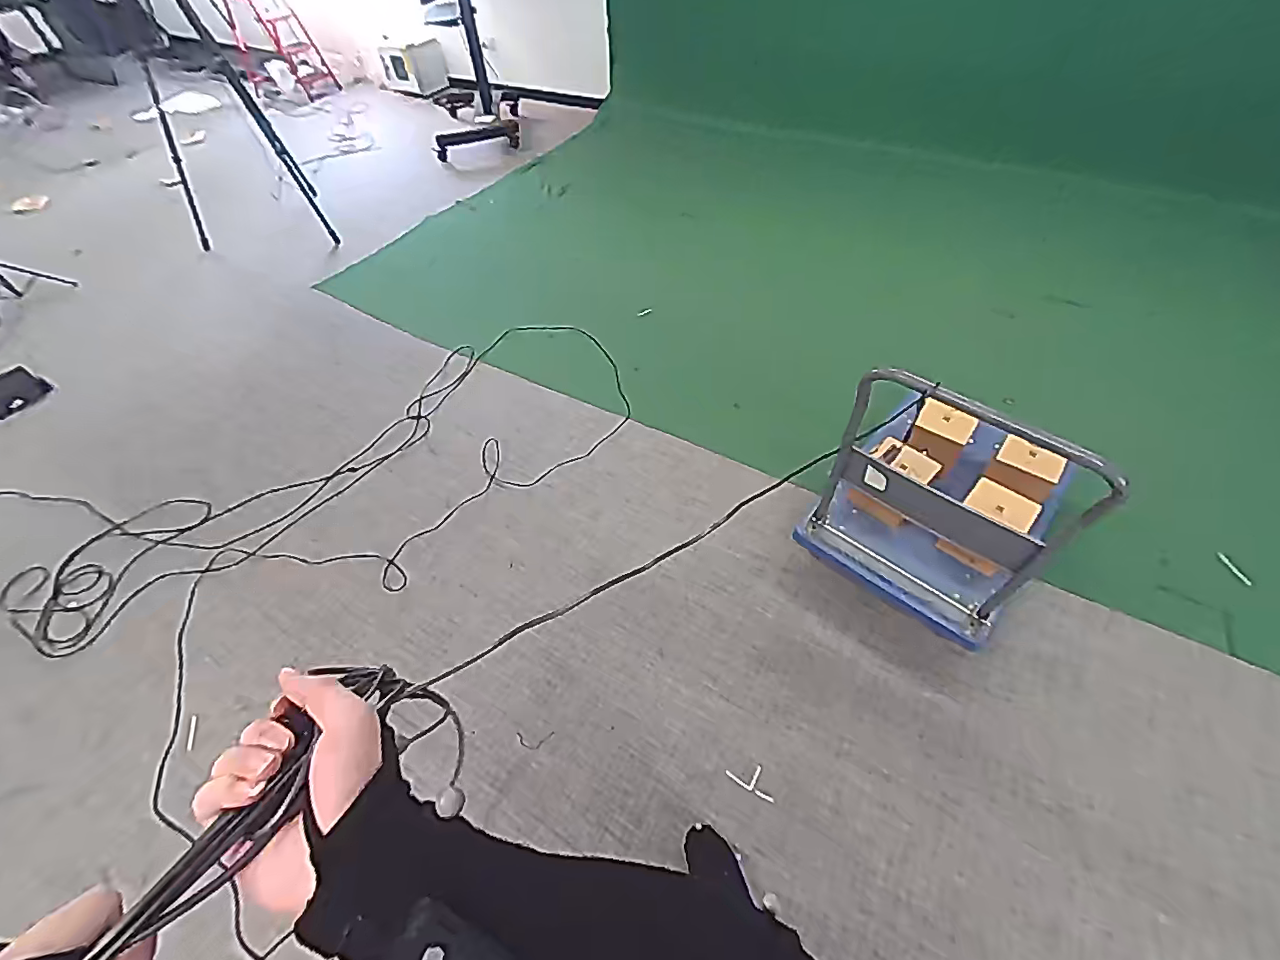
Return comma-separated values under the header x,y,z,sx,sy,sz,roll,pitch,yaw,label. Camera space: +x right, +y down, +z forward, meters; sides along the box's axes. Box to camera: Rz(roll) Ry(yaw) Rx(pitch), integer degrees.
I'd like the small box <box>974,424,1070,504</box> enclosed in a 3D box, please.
x,y,z,sx,sy,sz,roll,pitch,yaw,label
1.165,-0.032,1.659,0.168,0.176,0.179,31,60,25,small box

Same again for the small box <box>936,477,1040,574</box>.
x,y,z,sx,sy,sz,roll,pitch,yaw,label
0.983,0.131,1.542,0.168,0.176,0.179,35,61,27,small box

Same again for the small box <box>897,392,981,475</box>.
x,y,z,sx,sy,sz,roll,pitch,yaw,label
0.968,-0.147,1.764,0.168,0.176,0.179,31,59,24,small box
